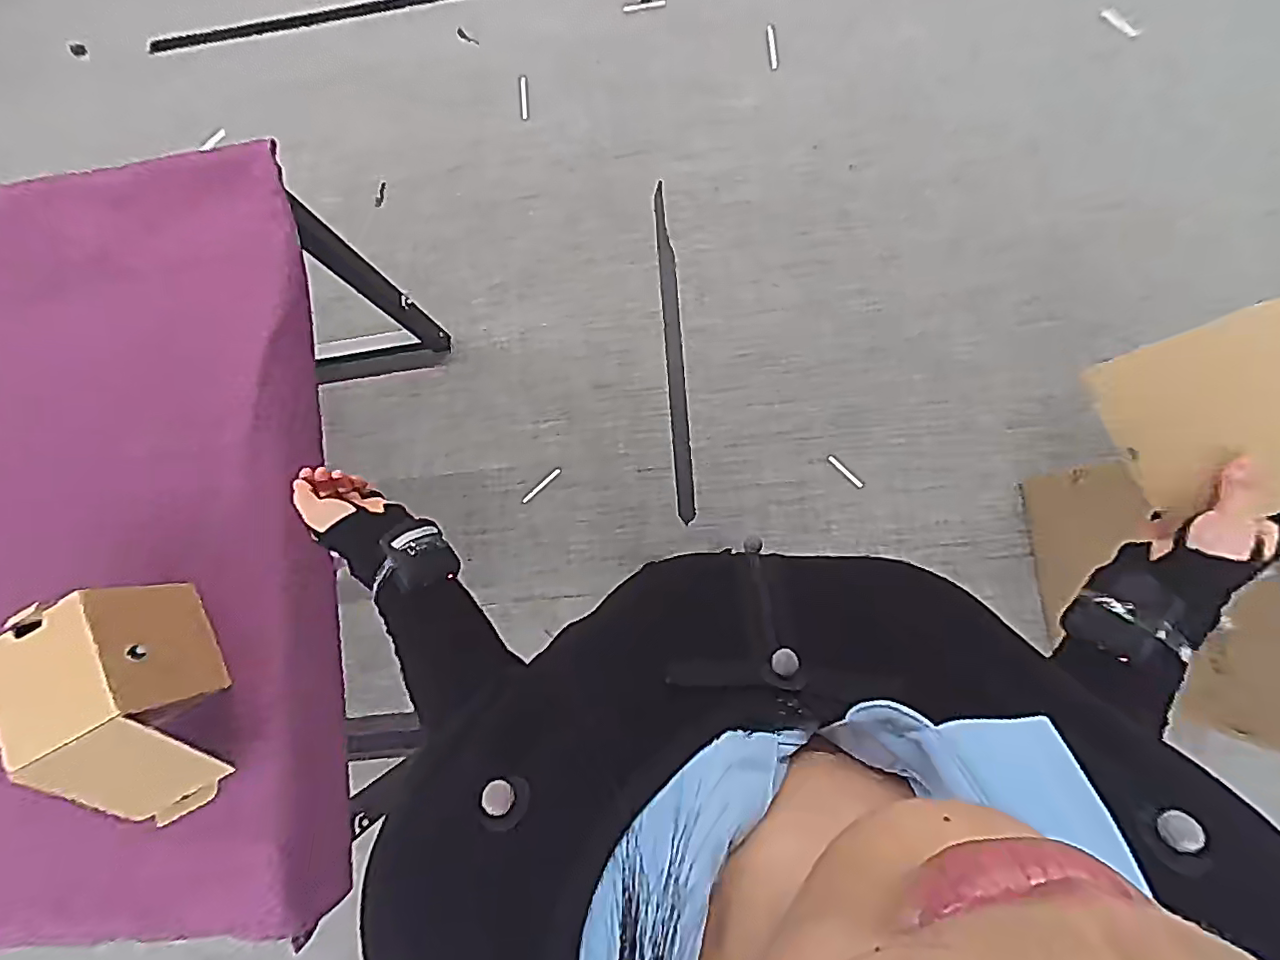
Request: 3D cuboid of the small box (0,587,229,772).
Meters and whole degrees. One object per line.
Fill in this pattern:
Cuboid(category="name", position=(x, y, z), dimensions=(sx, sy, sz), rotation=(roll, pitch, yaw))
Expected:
Cuboid(category="small box", position=(-0.736, 0.264, 0.764), dimensions=(0.168, 0.176, 0.179), rotation=(-28, 79, 1))
